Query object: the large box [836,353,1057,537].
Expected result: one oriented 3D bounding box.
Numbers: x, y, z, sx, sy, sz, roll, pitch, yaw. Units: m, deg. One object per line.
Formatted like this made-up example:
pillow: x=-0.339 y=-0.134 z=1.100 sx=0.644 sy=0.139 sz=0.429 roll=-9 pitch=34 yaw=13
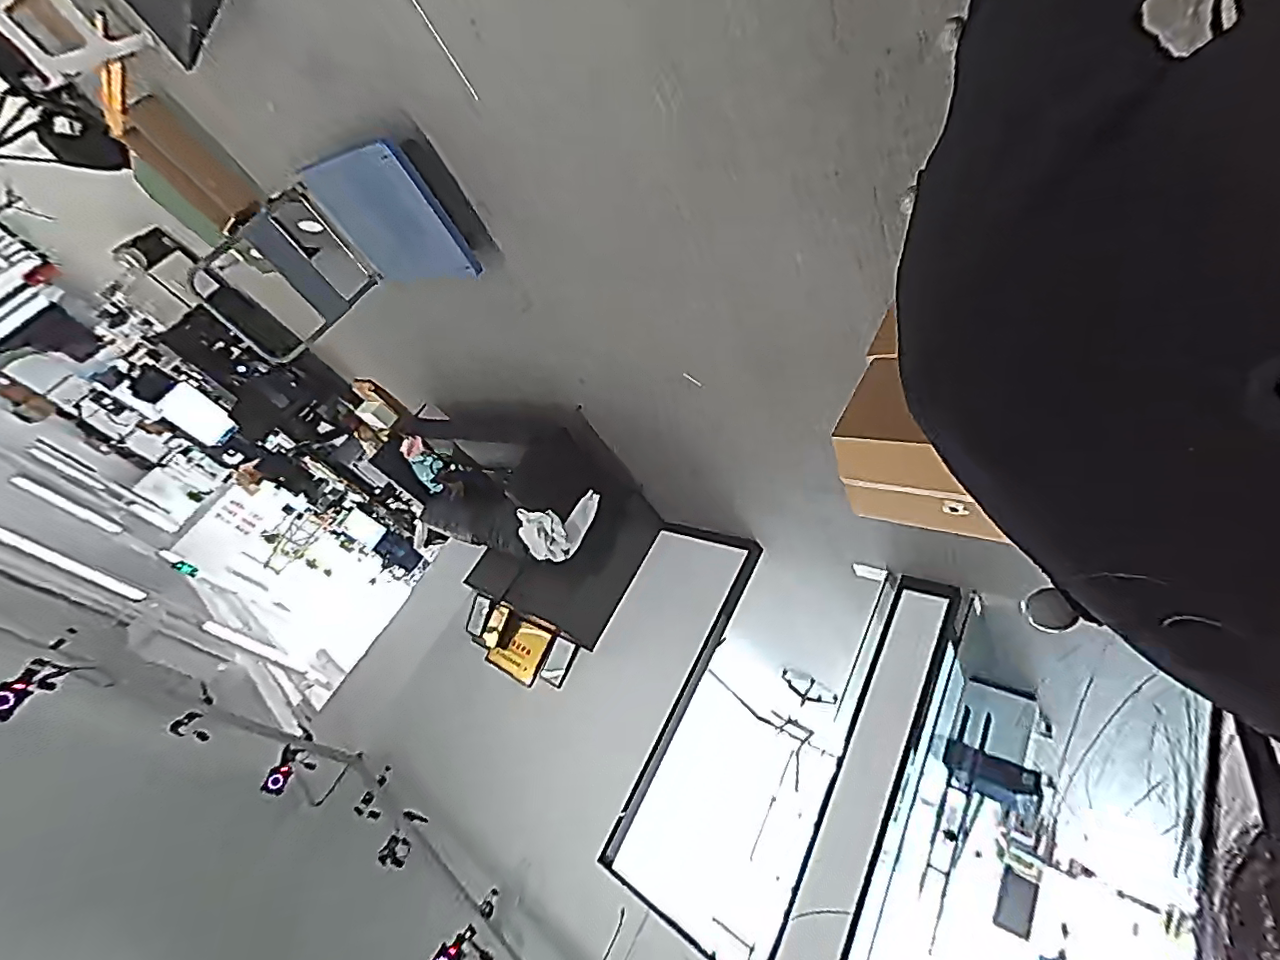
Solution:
large box: x=0.770 y=-0.100 z=1.361 sx=0.408 sy=0.320 sz=0.320 roll=10 pitch=144 yaw=42
